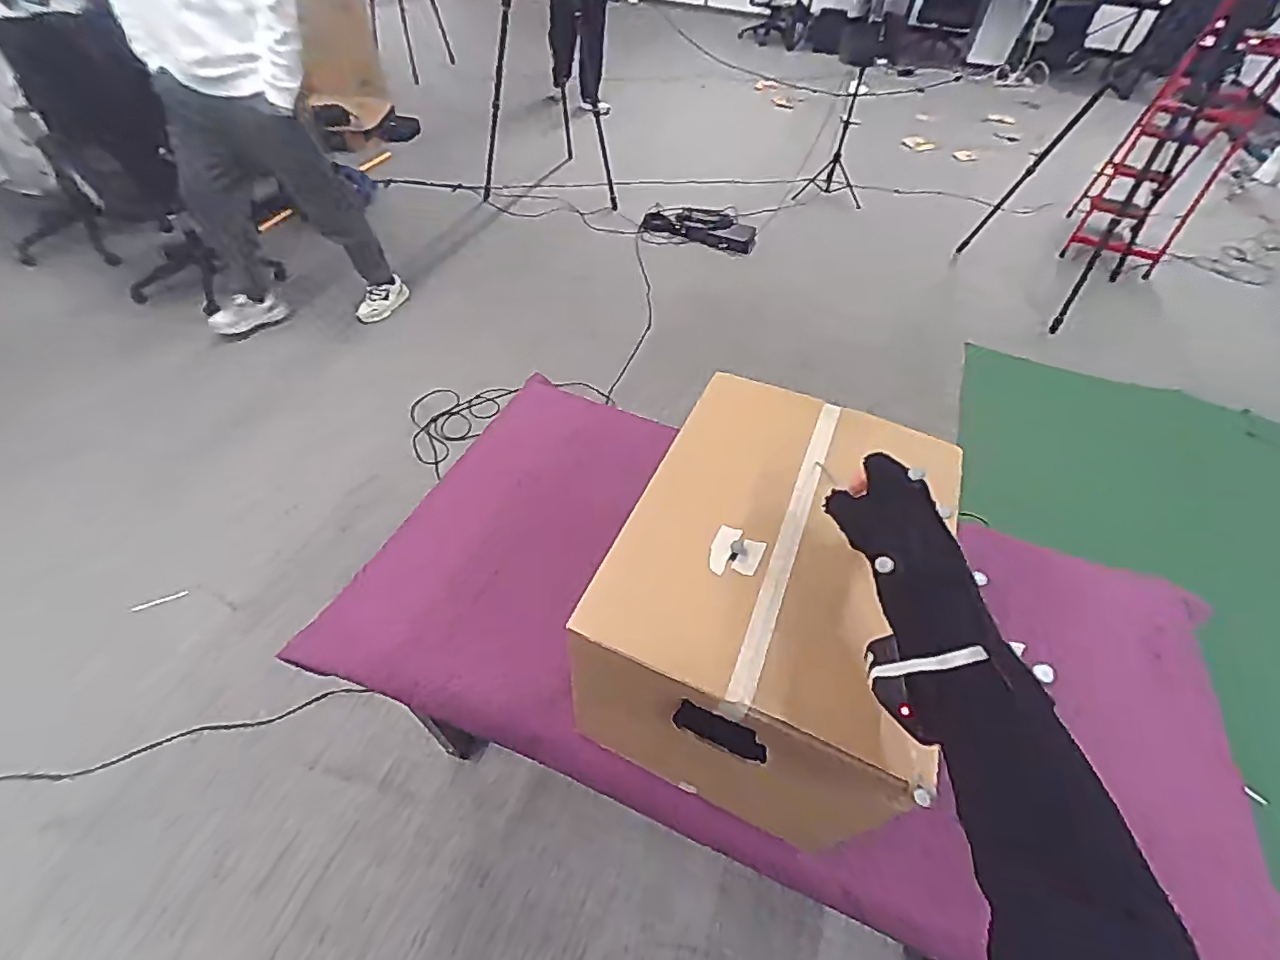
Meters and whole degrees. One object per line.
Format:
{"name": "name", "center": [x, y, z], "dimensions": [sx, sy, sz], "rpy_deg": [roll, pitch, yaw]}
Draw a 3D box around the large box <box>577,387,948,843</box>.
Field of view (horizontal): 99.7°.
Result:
{"name": "large box", "center": [0.148, 0.156, 0.687], "dimensions": [0.320, 0.320, 0.408], "rpy_deg": [21, 51, 14]}
